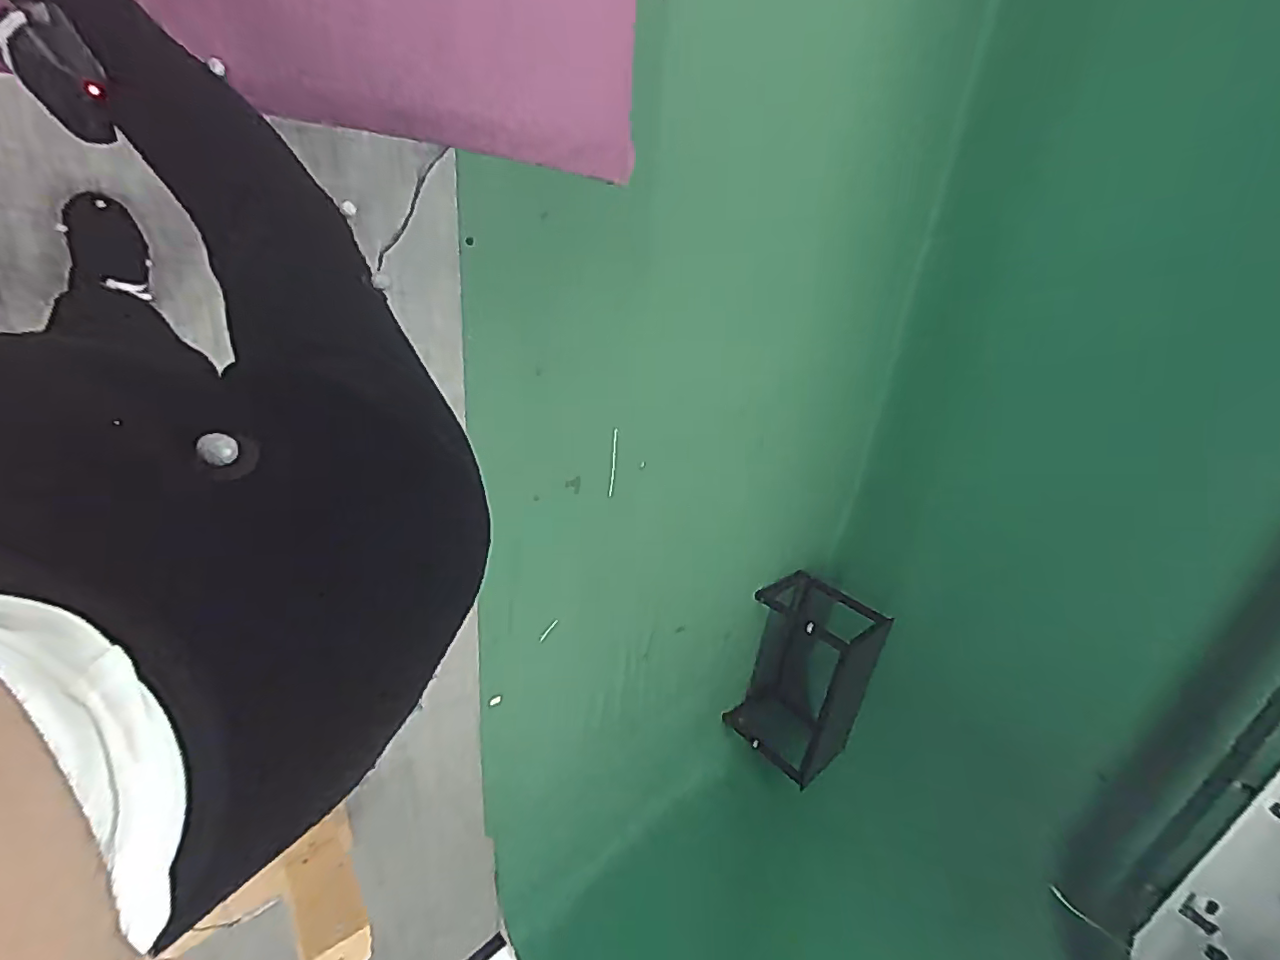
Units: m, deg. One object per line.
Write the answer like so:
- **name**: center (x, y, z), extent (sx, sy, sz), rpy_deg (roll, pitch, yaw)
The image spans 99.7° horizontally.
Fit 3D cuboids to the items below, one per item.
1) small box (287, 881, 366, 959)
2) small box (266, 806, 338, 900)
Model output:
- **small box**: center (-0.964, 1.397, 1.662), extent (0.179, 0.176, 0.168), rpy_deg (-8, 117, -42)
- **small box**: center (-1.178, 1.290, 1.885), extent (0.179, 0.176, 0.168), rpy_deg (-10, 119, -41)
